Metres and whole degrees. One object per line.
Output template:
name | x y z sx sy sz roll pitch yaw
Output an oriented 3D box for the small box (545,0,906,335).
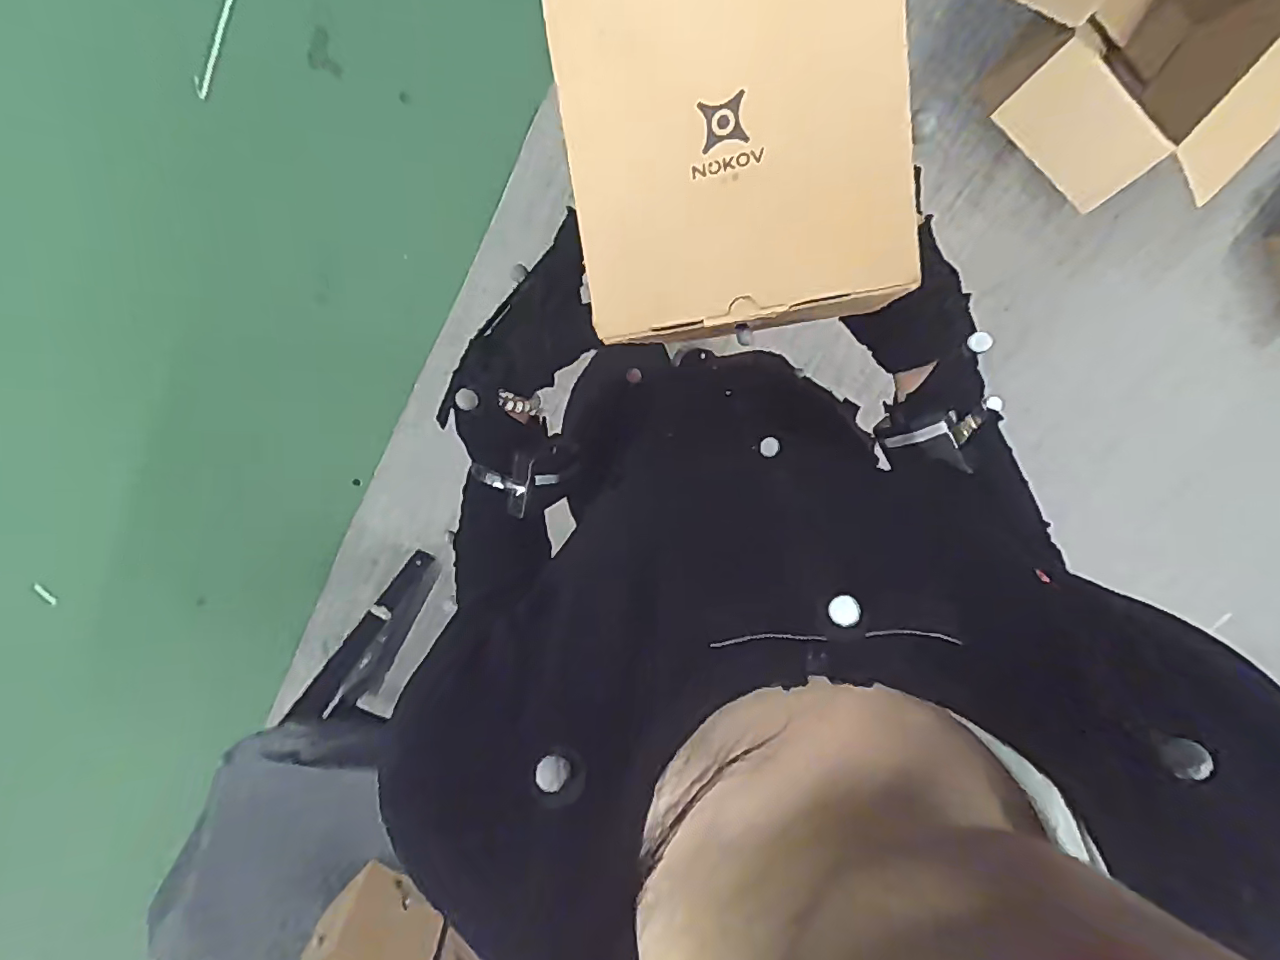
small box | 0.063 -0.193 0.342 0.168 0.176 0.179 -5 103 19
